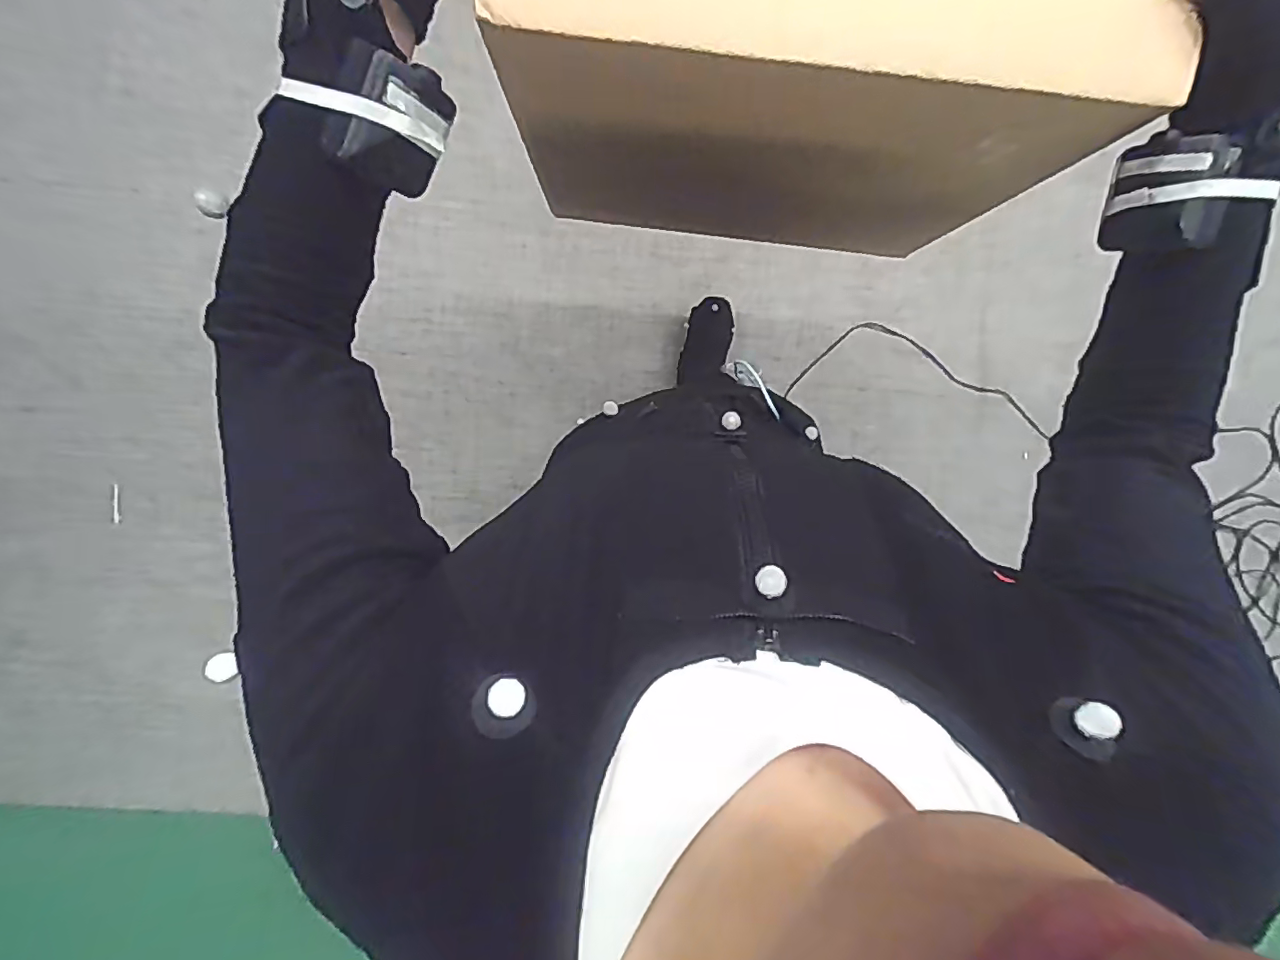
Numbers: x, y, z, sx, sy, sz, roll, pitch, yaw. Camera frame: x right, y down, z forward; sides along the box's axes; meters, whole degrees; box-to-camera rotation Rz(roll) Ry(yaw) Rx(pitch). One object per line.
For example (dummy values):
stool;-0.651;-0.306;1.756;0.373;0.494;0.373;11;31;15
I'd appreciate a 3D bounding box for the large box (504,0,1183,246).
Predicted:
large box;0.121;-0.411;0.445;0.408;0.320;0.320;5;98;-3
